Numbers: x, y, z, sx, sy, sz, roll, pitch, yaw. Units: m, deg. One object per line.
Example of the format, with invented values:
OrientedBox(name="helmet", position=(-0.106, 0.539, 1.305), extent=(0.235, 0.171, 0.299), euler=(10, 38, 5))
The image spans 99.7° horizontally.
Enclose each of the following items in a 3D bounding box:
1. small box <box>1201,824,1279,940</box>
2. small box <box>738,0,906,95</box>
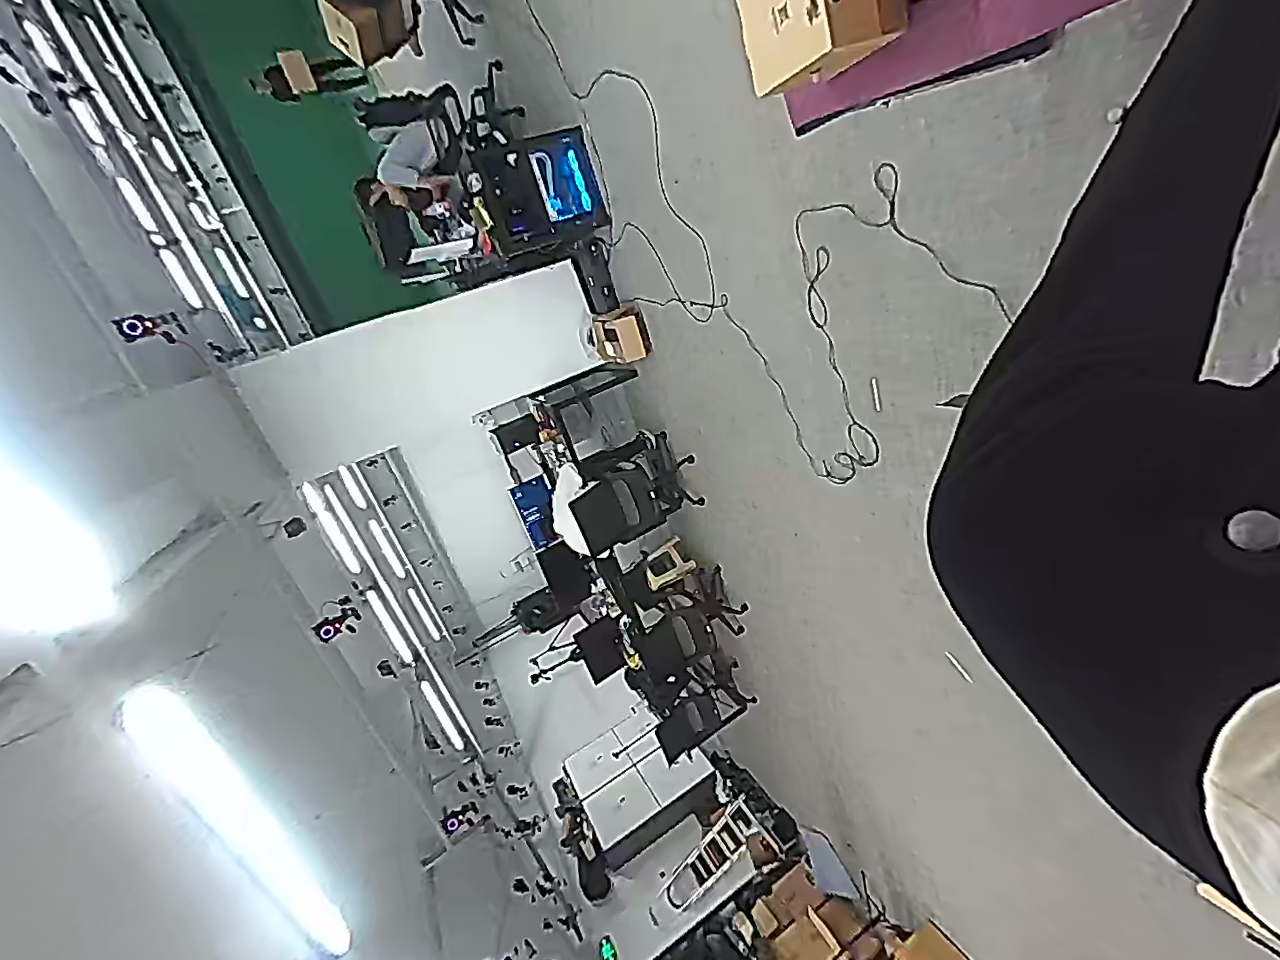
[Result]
OrientedBox(name="small box", position=(1.784, 1.157, 1.567), extent=(0.168, 0.176, 0.179), euler=(24, 134, 62))
OrientedBox(name="small box", position=(0.284, -0.750, 0.857), extent=(0.179, 0.176, 0.168), euler=(26, 140, 62))
